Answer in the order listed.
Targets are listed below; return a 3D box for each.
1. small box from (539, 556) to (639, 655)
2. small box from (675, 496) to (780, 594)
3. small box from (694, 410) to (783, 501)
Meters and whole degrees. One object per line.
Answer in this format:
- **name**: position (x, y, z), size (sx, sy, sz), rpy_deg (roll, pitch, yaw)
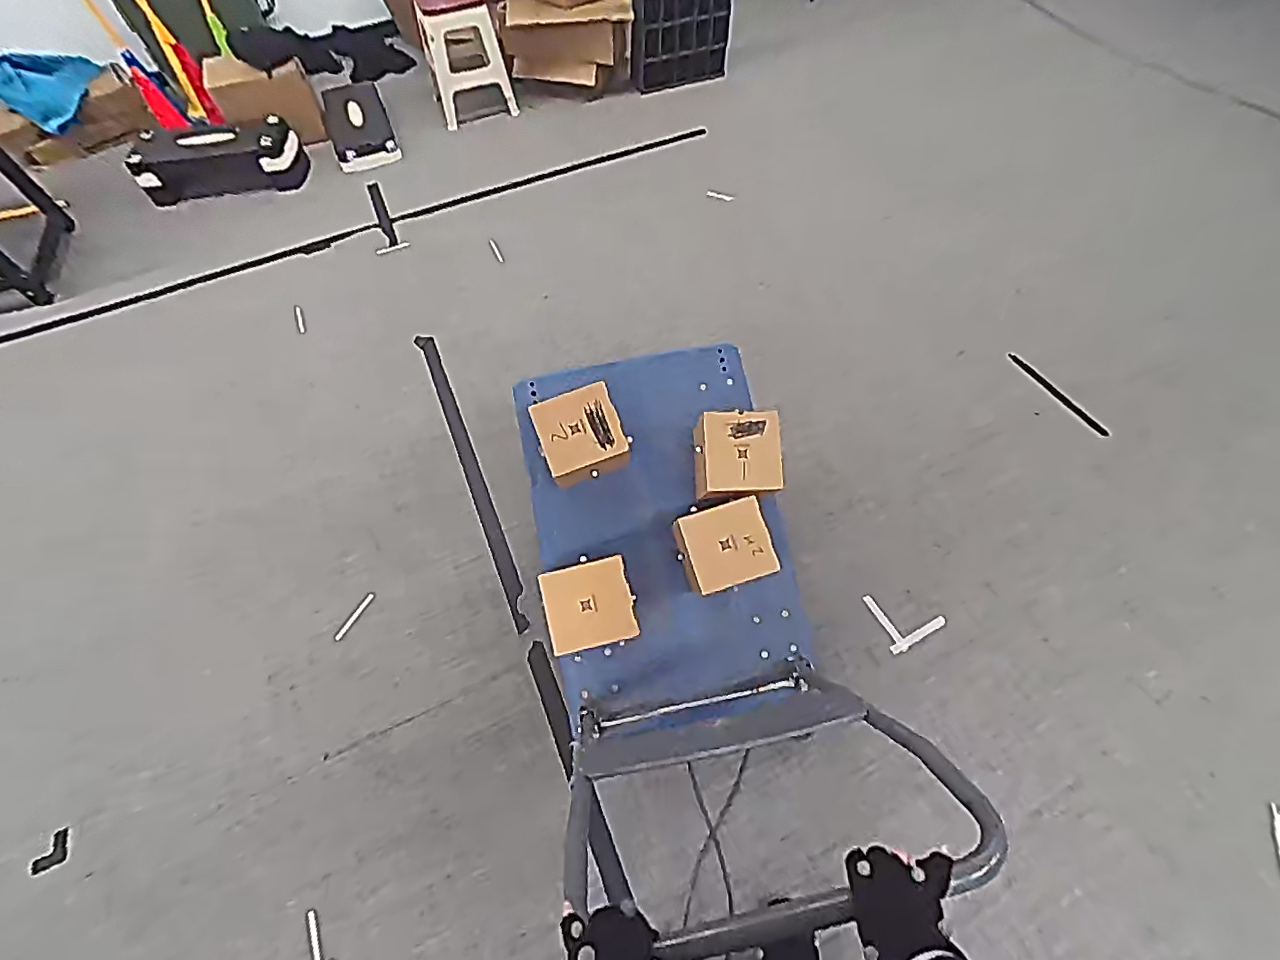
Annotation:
- **small box**: position (-0.106, 0.266, 1.166), size (0.179, 0.176, 0.168), rpy_deg (-14, 81, -5)
- **small box**: position (0.182, 0.147, 1.194), size (0.179, 0.176, 0.168), rpy_deg (-17, 81, -4)
- **small box**: position (0.217, -0.050, 1.228), size (0.168, 0.176, 0.179), rpy_deg (-2, 81, -2)
